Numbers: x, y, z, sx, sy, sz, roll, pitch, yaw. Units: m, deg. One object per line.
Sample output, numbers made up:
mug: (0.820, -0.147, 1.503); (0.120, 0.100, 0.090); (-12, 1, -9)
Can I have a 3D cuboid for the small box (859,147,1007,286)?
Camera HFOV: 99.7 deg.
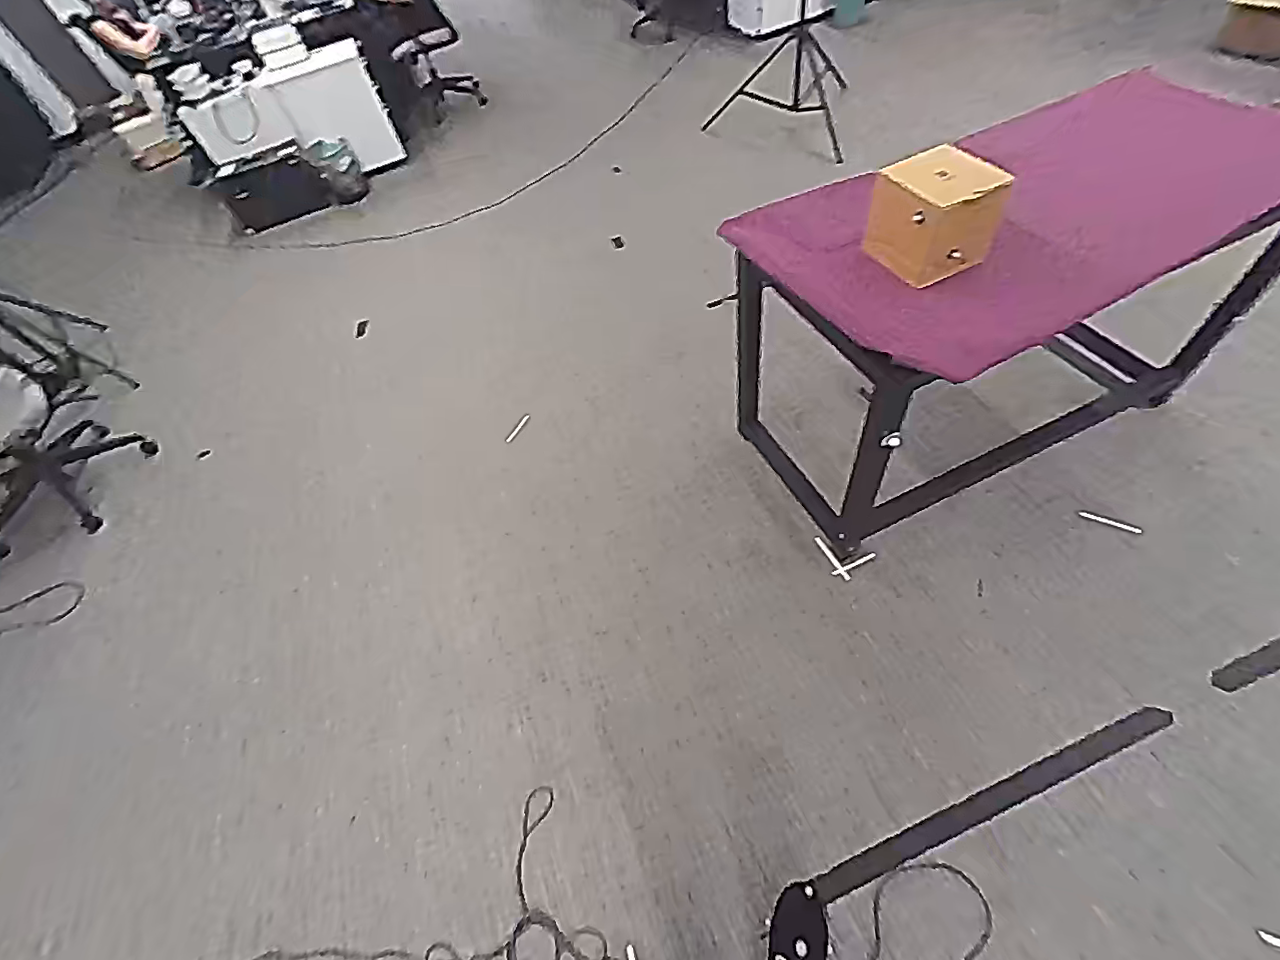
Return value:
small box: (0.563, -0.519, 1.071); (0.168, 0.176, 0.179); (-25, 55, -9)
